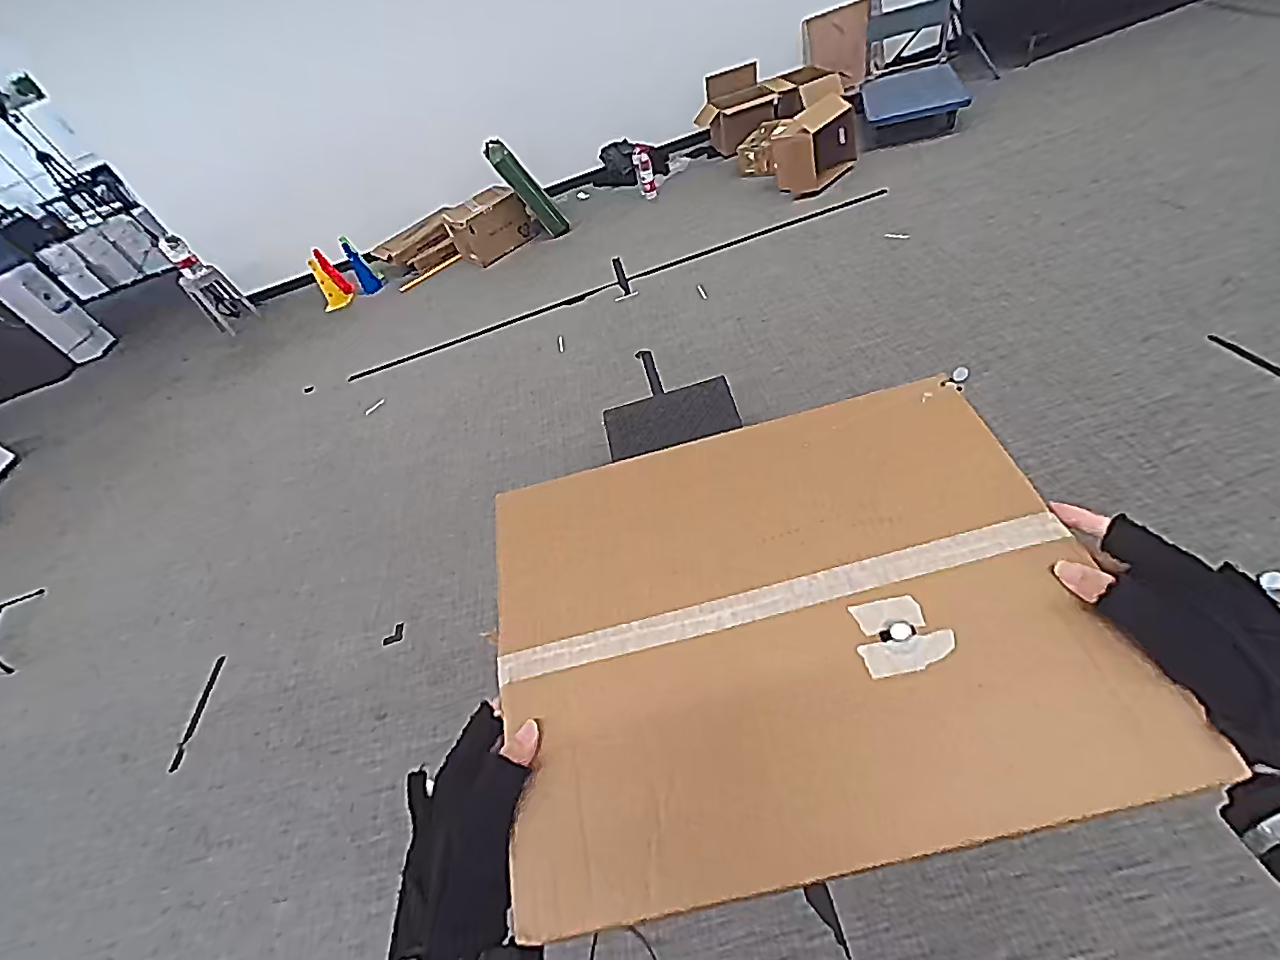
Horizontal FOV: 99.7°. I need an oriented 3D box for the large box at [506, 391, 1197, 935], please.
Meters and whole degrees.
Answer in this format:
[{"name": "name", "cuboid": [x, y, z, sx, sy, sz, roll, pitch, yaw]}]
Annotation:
[{"name": "large box", "cuboid": [0.124, 0.176, 0.518, 0.408, 0.320, 0.320, -15, 55, 2]}]
